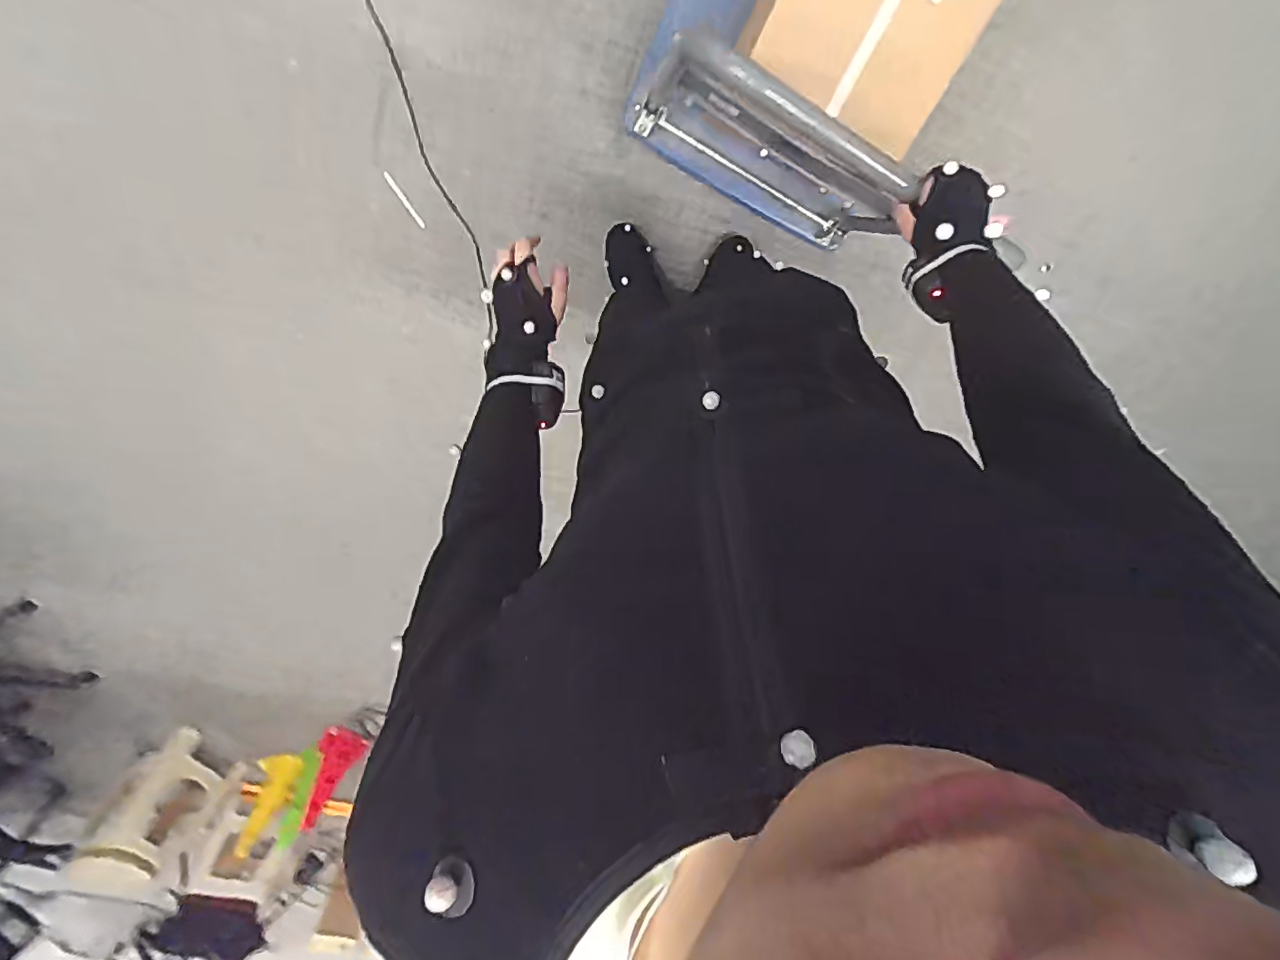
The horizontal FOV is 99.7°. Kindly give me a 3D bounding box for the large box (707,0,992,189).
[{"bbox_3d":[0.360,-0.792,0.965,0.320,0.320,0.408,22,115,-15],"label":"large box"}]
